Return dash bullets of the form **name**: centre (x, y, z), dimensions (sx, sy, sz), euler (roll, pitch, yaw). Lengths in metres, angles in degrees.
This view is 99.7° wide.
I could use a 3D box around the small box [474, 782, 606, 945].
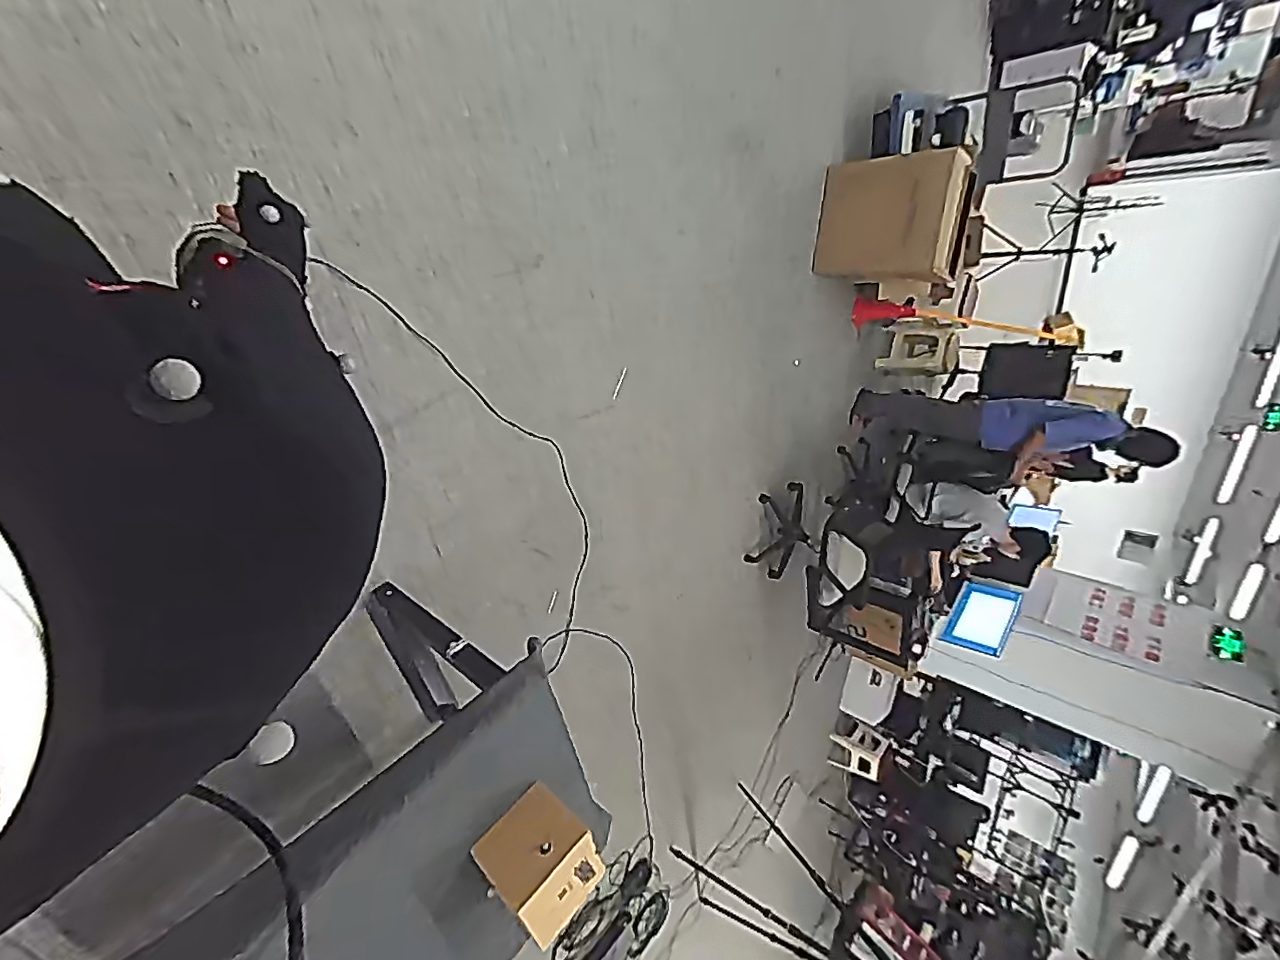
- **small box**: centre (-0.199, 0.760, 1.091), dimensions (0.179, 0.176, 0.168), euler (-36, 127, -35)
